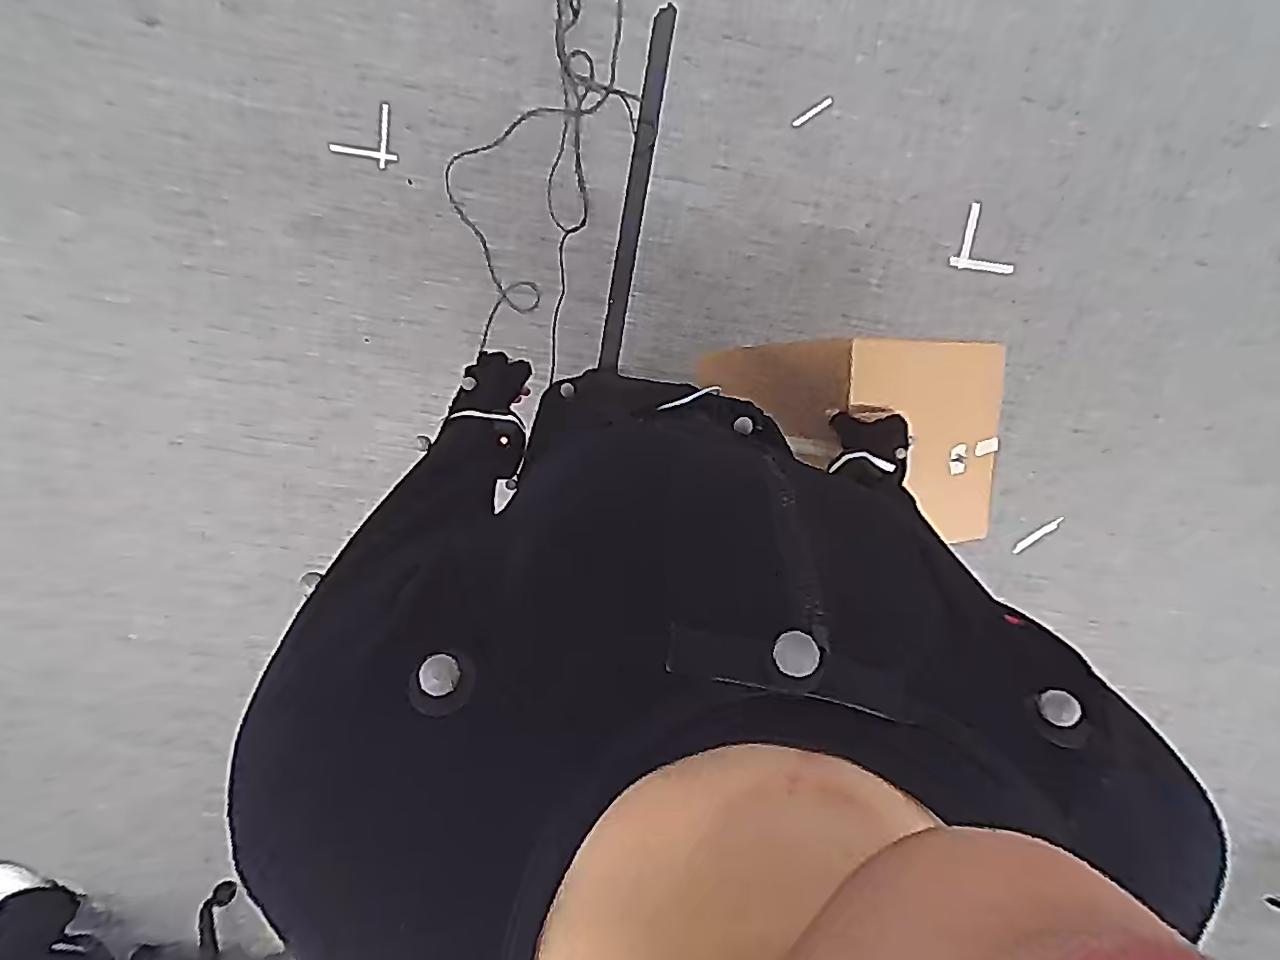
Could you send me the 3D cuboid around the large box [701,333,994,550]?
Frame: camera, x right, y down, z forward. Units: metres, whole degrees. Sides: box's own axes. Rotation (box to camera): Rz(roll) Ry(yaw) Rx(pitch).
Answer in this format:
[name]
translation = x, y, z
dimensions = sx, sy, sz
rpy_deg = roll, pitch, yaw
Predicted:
[large box]
translation = 0.346, -0.082, 0.989
dimensions = 0.320, 0.408, 0.320
rpy_deg = -1, 100, -22
